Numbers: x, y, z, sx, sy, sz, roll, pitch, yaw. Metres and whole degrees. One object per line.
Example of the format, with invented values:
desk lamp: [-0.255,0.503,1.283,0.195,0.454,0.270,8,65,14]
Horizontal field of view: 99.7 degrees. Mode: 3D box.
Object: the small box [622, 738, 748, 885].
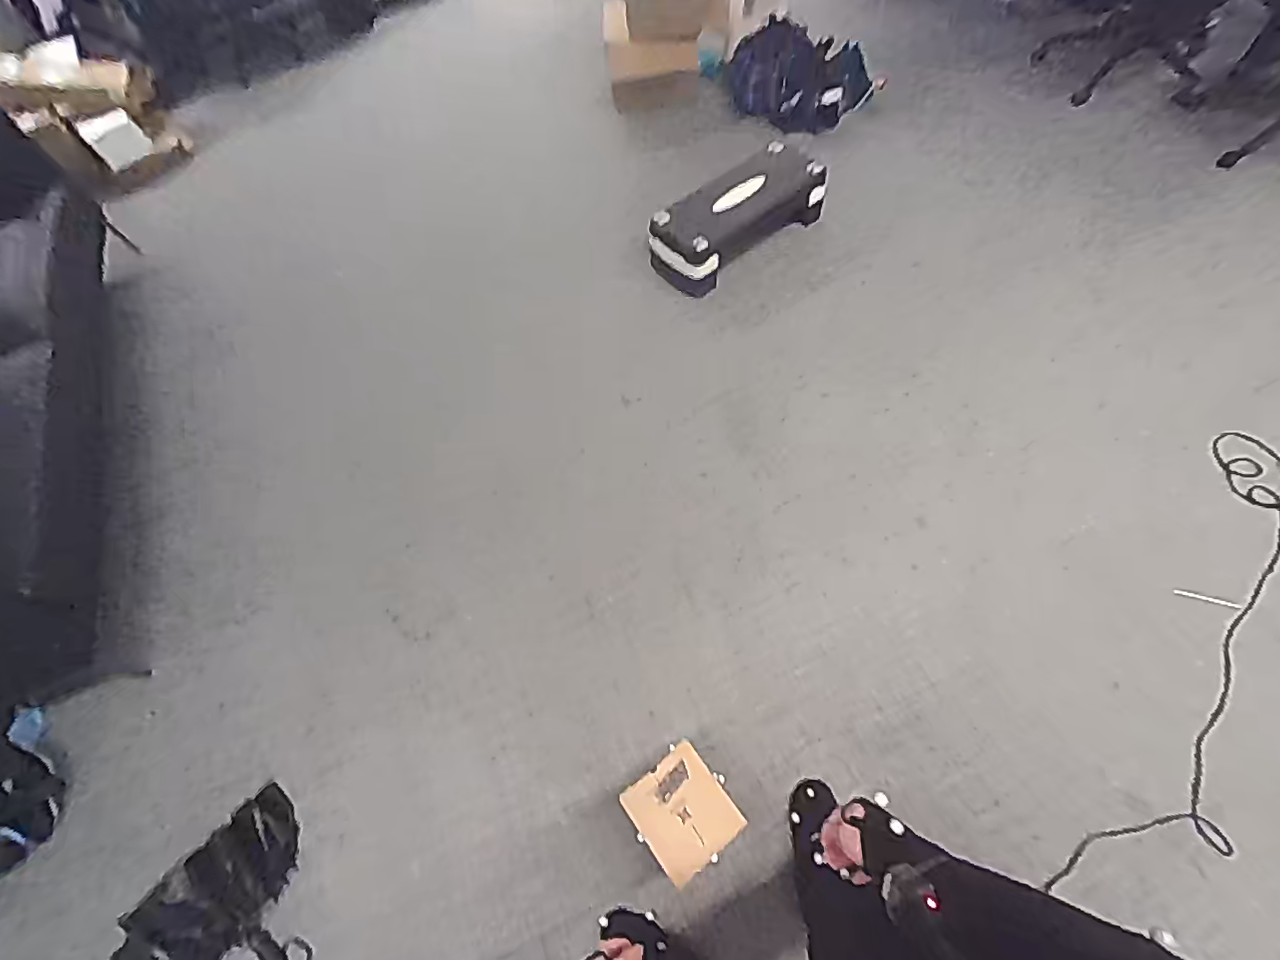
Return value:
small box: [0.085,0.636,1.054,0.168,0.176,0.179,-36,65,-12]
